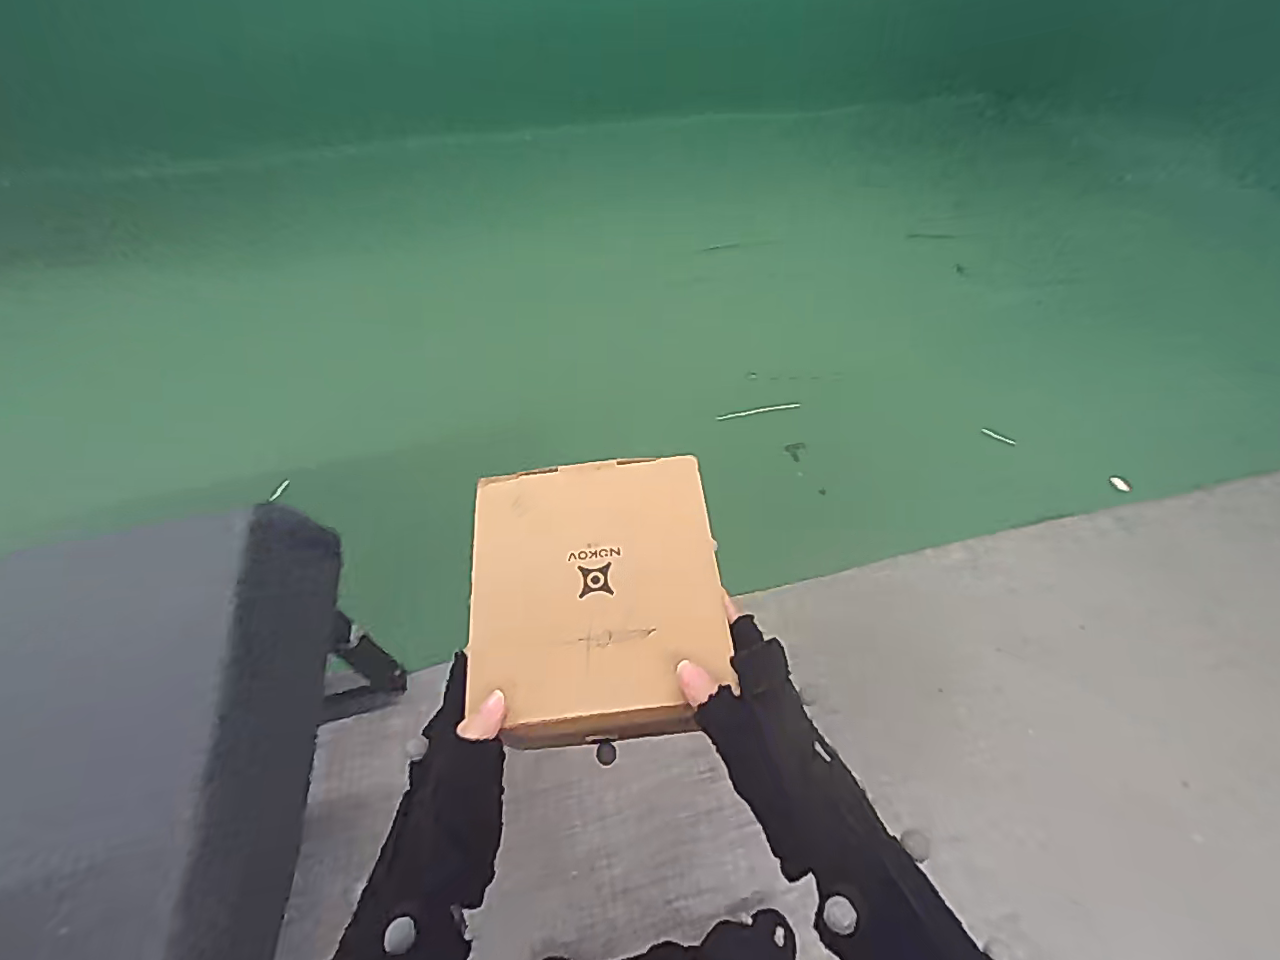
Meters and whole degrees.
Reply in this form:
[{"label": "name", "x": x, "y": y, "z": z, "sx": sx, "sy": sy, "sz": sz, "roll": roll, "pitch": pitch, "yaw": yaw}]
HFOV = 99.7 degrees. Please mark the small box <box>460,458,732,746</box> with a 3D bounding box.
[{"label": "small box", "x": -0.028, "y": 0.103, "z": 0.431, "sx": 0.168, "sy": 0.176, "sz": 0.179, "roll": -5, "pitch": 60, "yaw": 0}]
